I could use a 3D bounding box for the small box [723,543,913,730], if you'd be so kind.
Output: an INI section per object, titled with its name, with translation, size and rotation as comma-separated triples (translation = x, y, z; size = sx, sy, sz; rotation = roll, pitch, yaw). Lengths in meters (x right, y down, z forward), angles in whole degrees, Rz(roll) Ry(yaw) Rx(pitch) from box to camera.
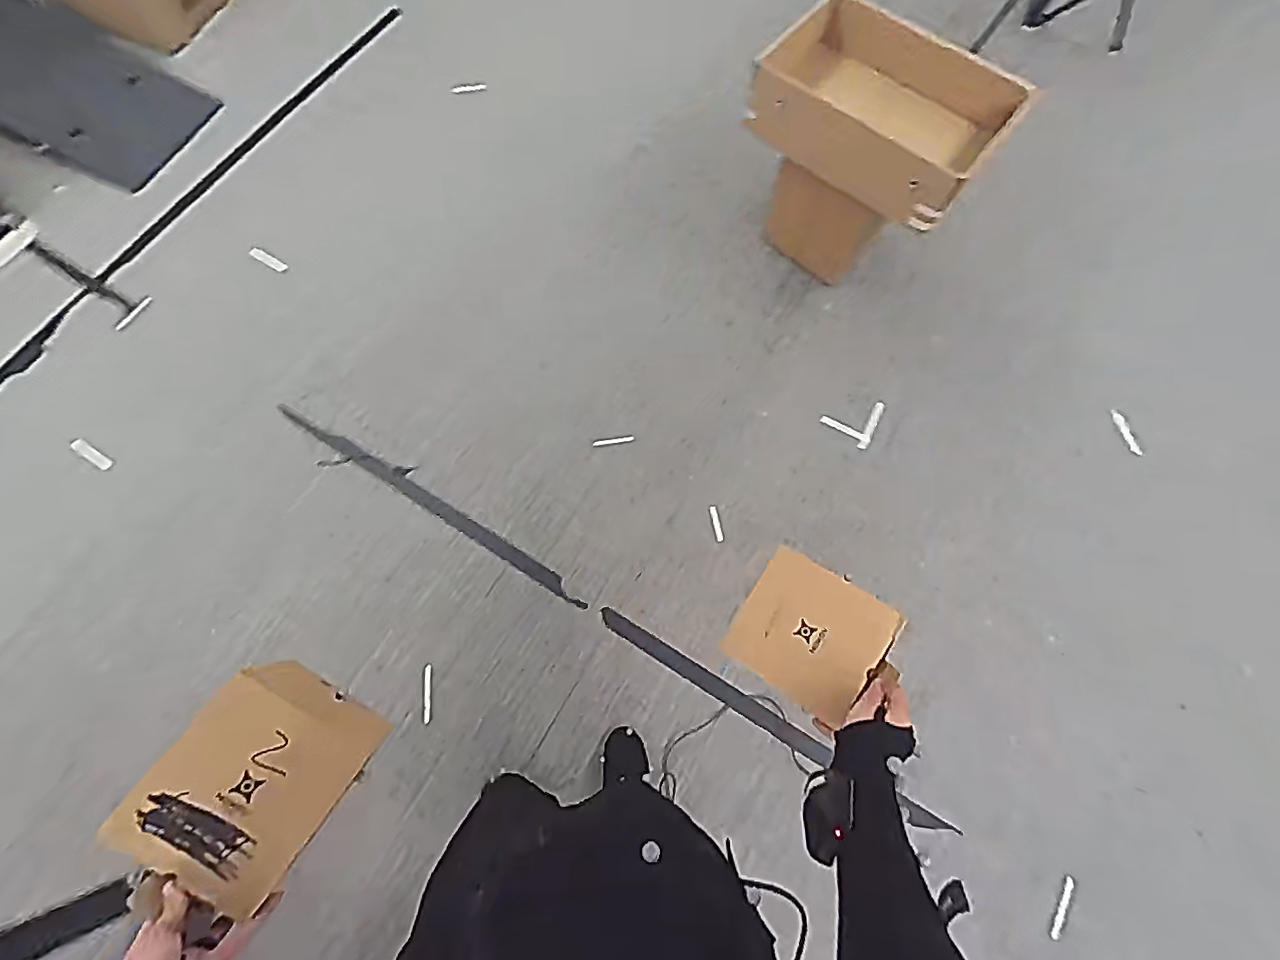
[small box]
translation = 0.246, 0.209, 0.753
size = 0.179, 0.176, 0.168
rotation = 32, 88, 25
